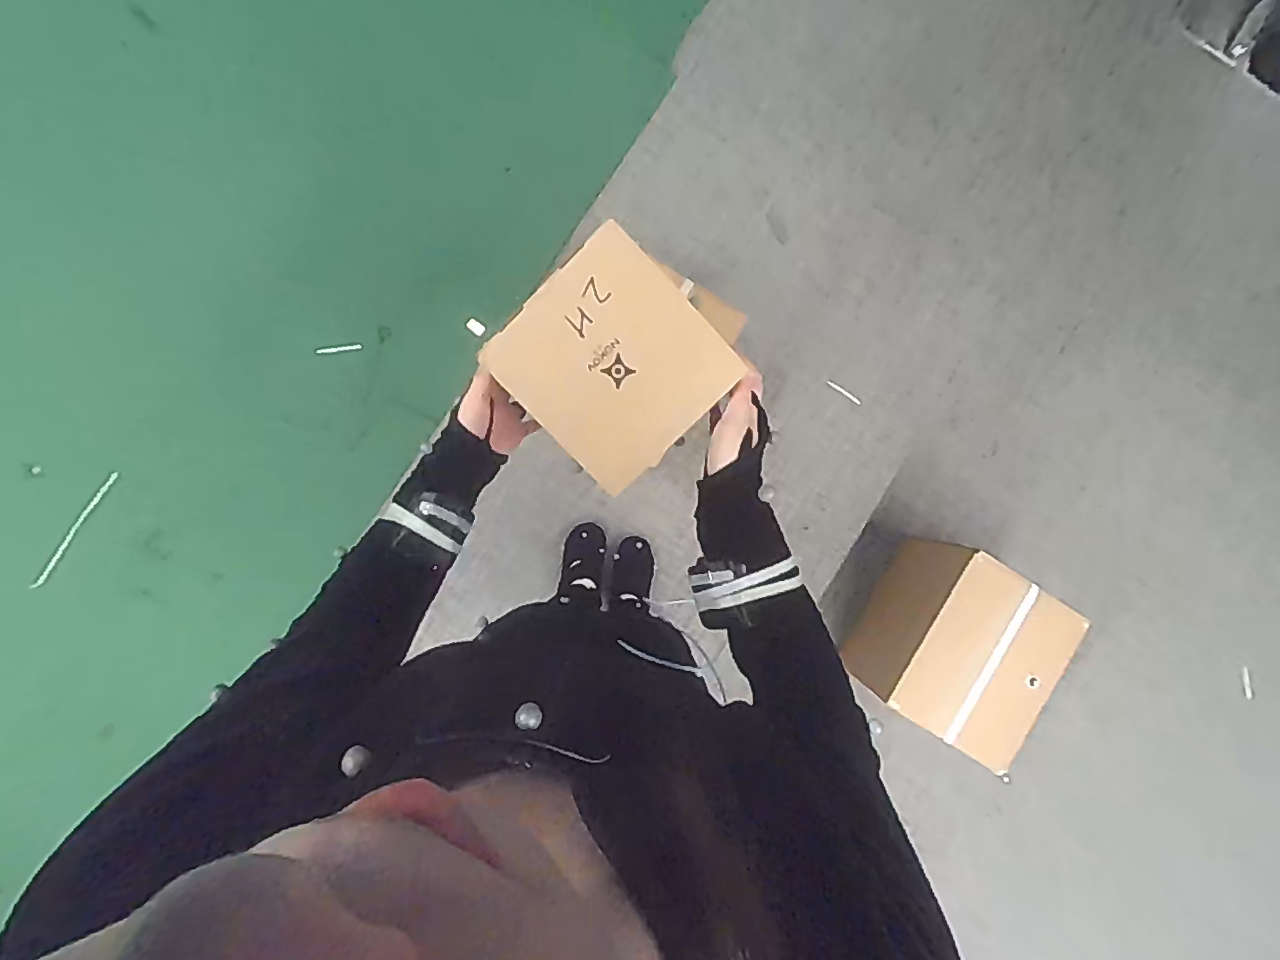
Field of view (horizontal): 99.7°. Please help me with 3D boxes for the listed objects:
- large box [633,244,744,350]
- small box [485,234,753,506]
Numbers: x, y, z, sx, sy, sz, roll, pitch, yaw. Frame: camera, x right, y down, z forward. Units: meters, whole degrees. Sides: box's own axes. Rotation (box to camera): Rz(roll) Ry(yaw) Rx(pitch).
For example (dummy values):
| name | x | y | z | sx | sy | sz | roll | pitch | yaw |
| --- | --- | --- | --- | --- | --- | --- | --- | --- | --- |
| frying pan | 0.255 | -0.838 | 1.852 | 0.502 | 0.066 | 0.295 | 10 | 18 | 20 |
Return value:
| name | x | y | z | sx | sy | sz | roll | pitch | yaw |
| --- | --- | --- | --- | --- | --- | --- | --- | --- | --- |
| large box | 0.002 | -0.278 | 1.350 | 0.320 | 0.320 | 0.408 | 32 | 88 | -1 |
| small box | -0.016 | -0.105 | 0.543 | 0.168 | 0.176 | 0.179 | -44 | 97 | 7 |
